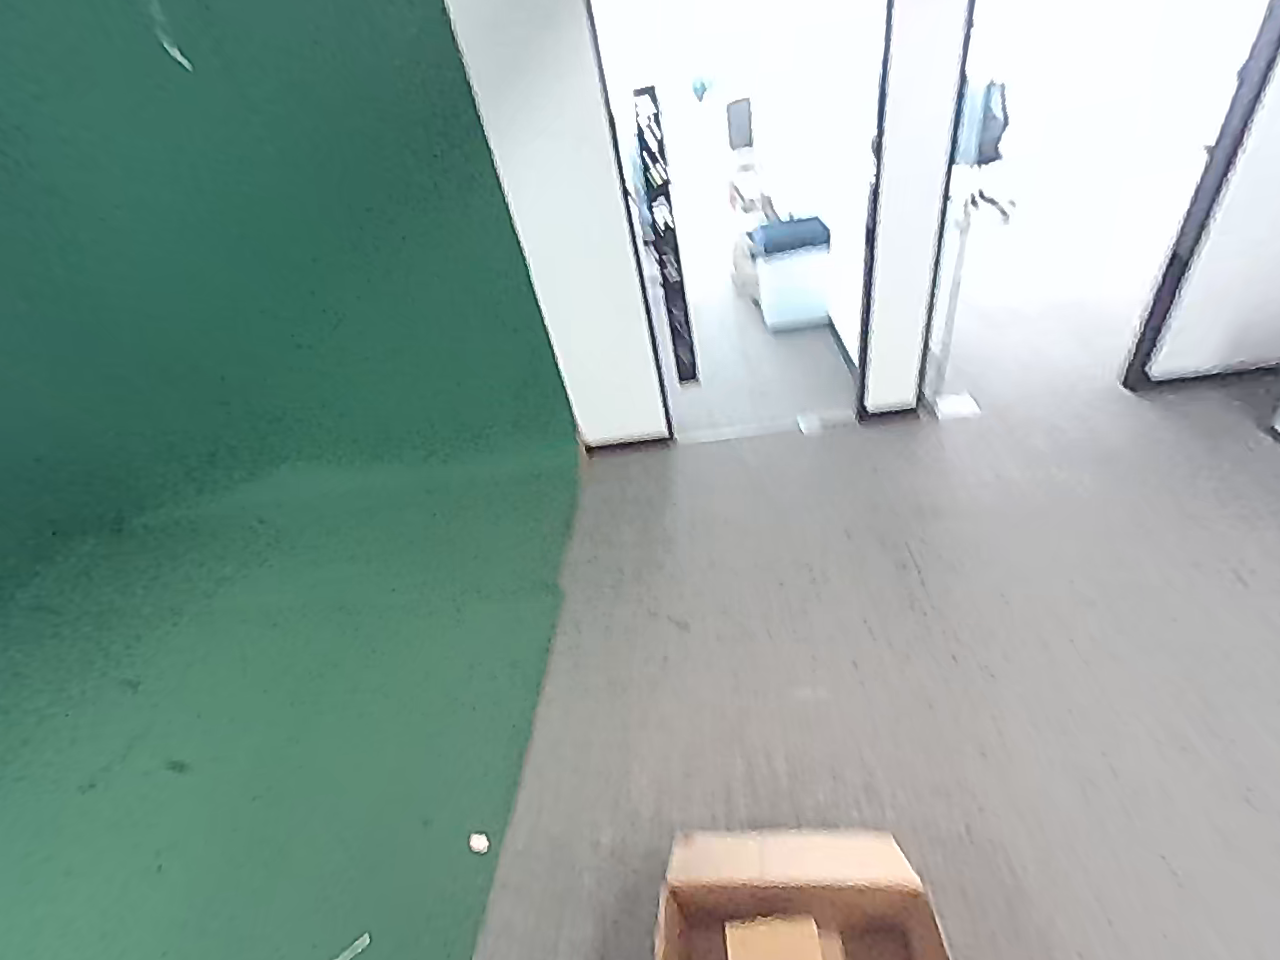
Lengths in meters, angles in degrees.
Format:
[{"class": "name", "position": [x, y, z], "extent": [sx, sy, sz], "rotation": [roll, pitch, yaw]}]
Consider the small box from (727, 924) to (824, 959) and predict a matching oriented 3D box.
[{"class": "small box", "position": [0.246, 0.918, 0.952], "extent": [0.168, 0.176, 0.179], "rotation": [-7, 38, 4]}]
